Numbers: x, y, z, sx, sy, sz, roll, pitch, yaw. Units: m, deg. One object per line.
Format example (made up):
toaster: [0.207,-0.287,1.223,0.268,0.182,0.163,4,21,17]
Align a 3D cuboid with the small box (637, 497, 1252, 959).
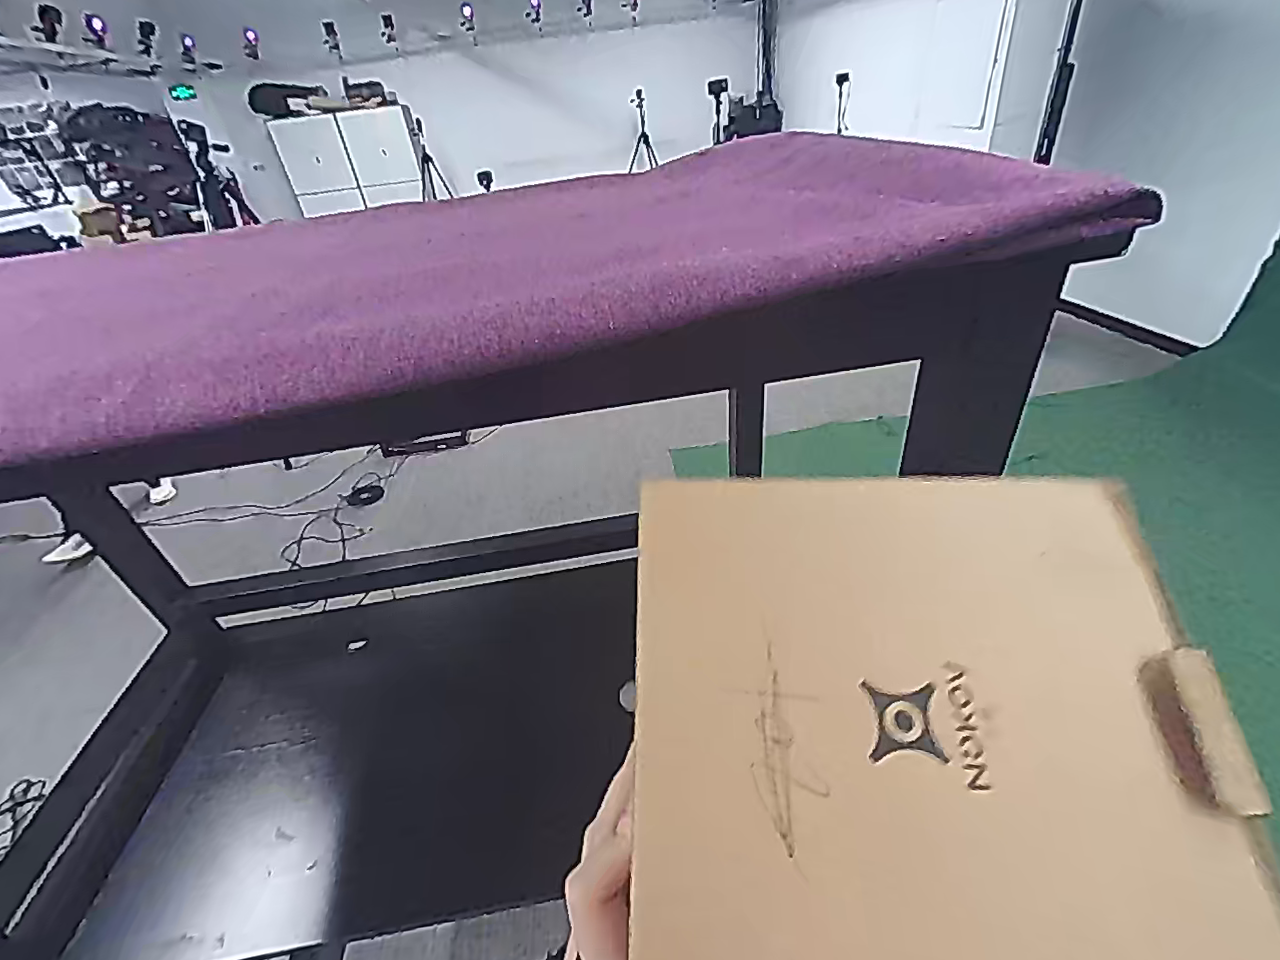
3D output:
small box: [0.092,0.115,0.255,0.179,0.176,0.168,-1,64,5]
